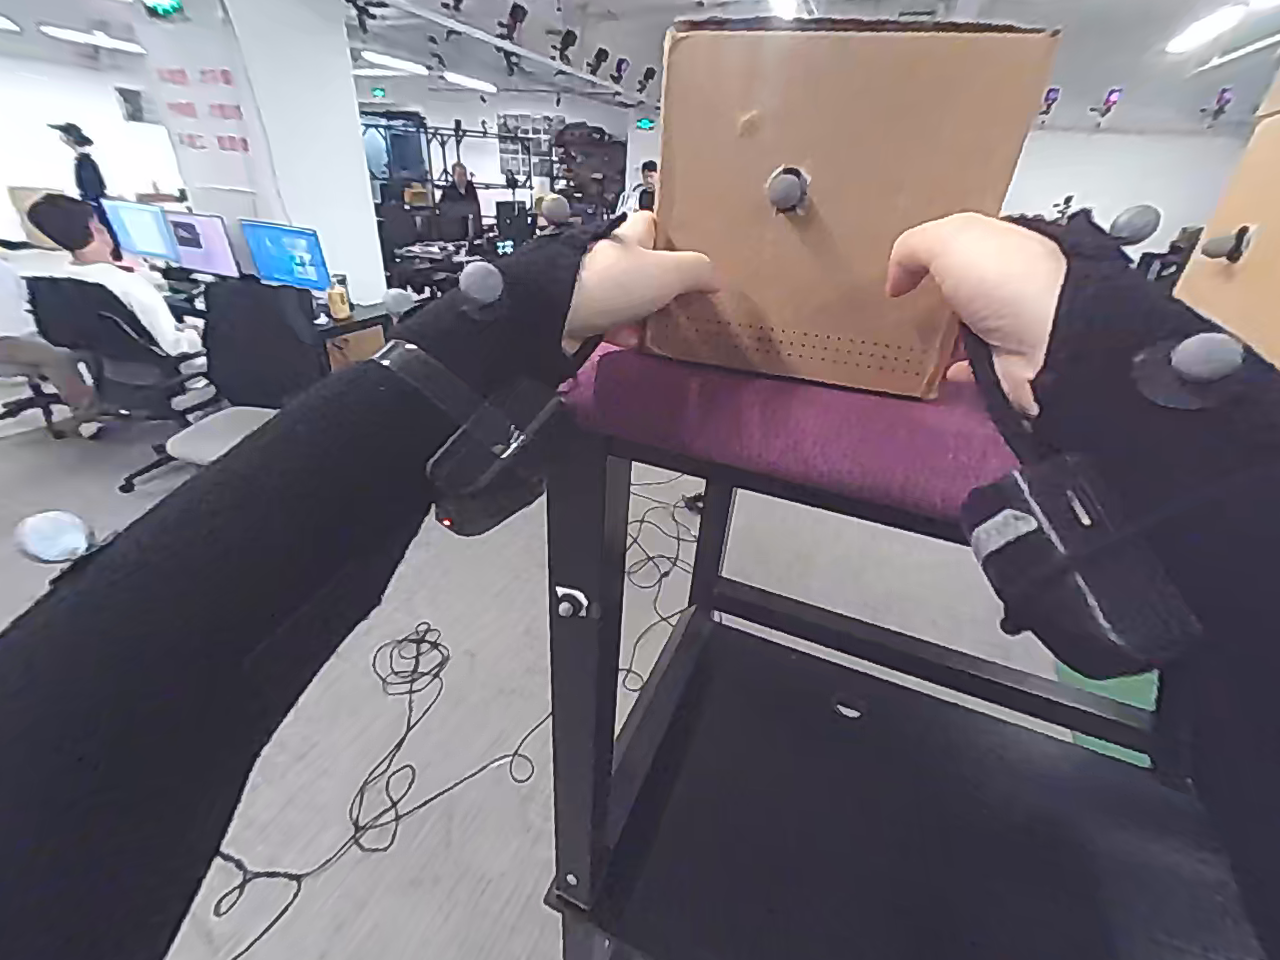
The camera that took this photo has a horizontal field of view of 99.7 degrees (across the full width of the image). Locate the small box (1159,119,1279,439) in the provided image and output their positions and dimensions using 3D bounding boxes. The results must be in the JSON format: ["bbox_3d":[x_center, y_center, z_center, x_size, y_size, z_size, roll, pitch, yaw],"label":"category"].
[{"bbox_3d":[0.441,-0.106,0.295,0.179,0.176,0.168,16,30,20],"label":"small box"}]

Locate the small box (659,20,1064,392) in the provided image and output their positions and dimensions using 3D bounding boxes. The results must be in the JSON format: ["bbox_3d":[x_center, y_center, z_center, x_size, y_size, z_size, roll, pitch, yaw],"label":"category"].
[{"bbox_3d":[0.116,-0.165,0.350,0.179,0.176,0.168,11,30,14],"label":"small box"}]
